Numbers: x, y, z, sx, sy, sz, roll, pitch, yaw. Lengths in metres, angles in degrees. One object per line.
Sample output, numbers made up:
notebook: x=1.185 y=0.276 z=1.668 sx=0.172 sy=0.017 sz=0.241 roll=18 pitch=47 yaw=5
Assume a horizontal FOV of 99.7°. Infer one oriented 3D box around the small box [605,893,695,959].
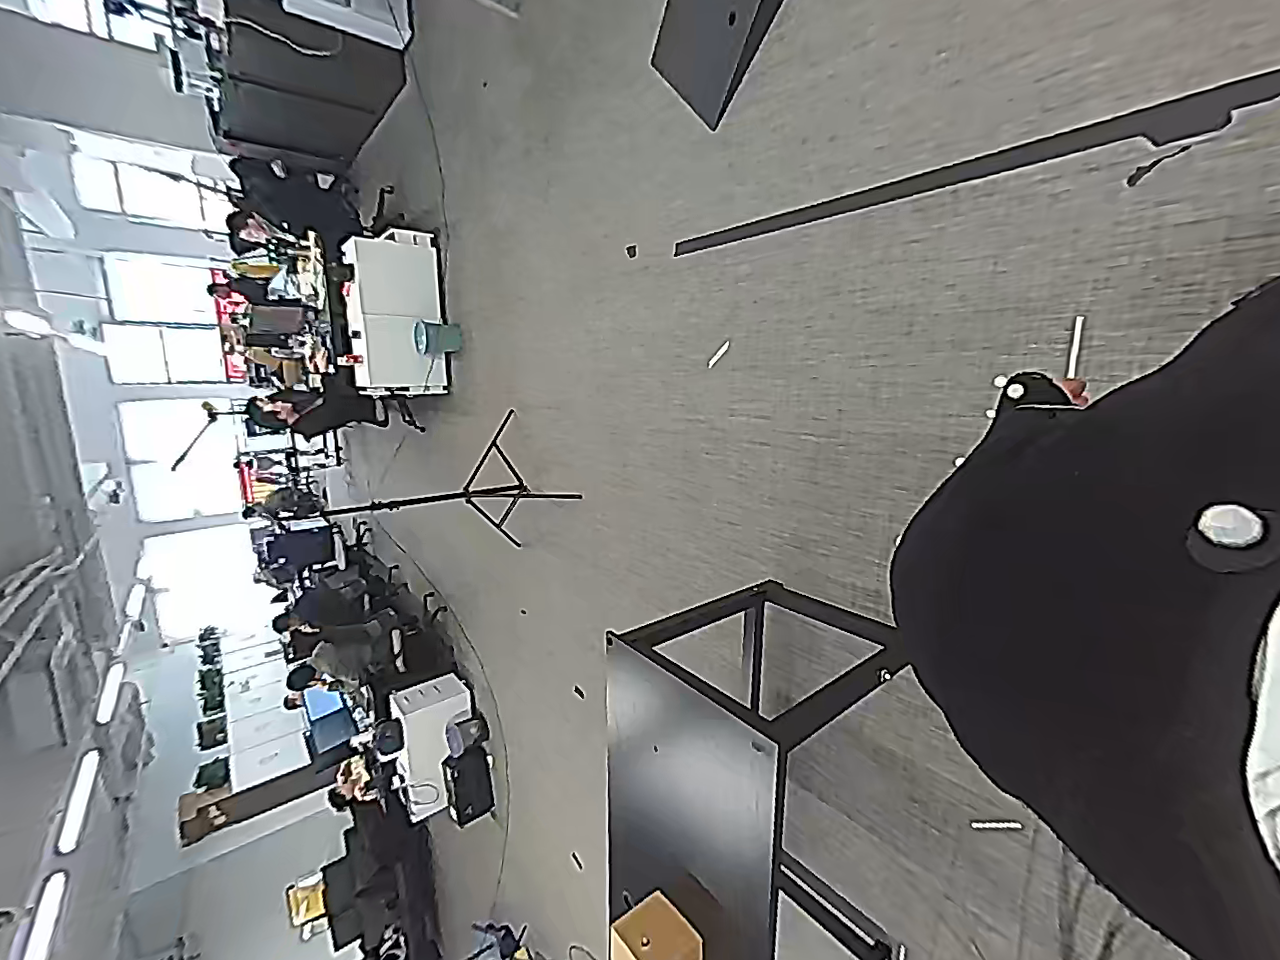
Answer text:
small box: x=0.026 y=1.231 z=1.395 sx=0.179 sy=0.176 sz=0.168 roll=13 pitch=106 yaw=50
